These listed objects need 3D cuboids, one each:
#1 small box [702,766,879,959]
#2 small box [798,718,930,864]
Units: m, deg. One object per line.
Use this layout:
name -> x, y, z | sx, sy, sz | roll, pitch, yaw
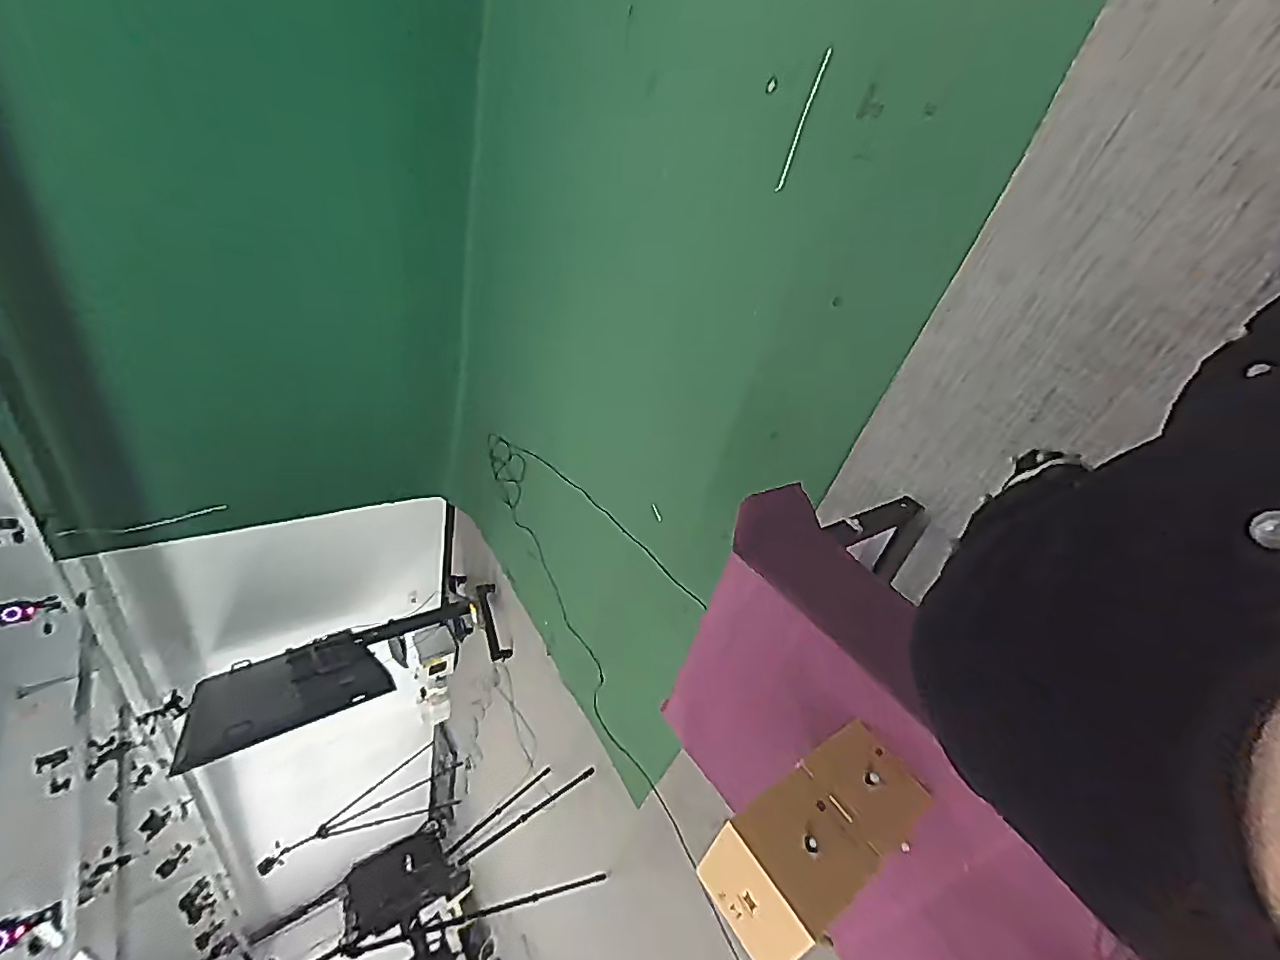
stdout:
small box -> 0.228, 0.577, 0.820 | 0.168, 0.176, 0.179 | 45, 134, 37
small box -> 0.357, 0.545, 0.920 | 0.168, 0.176, 0.179 | 45, 133, 37
